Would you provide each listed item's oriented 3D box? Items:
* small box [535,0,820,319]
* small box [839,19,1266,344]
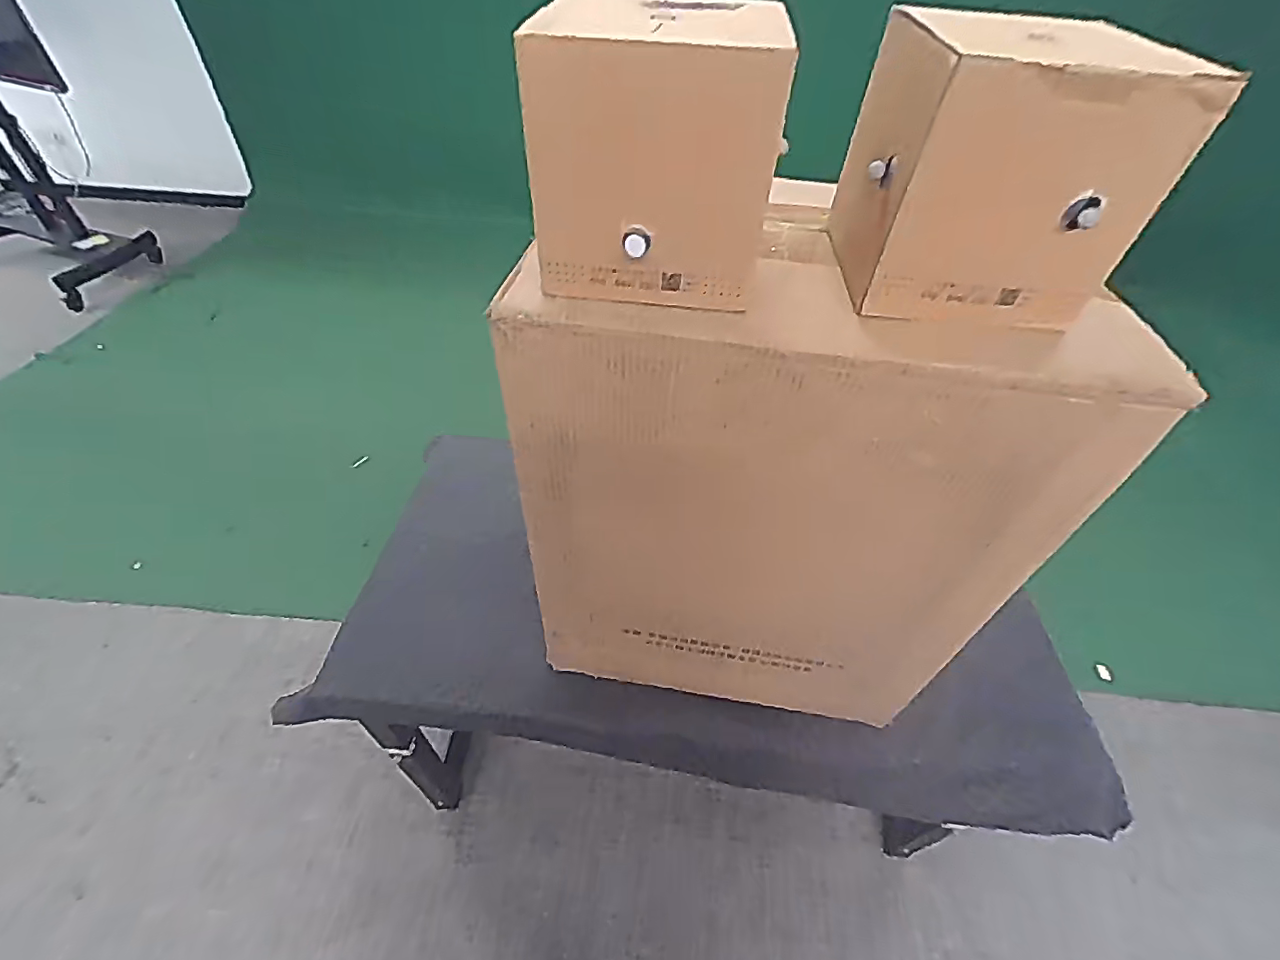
[{"bbox_3d":[0.029,-0.250,0.415,0.168,0.176,0.179,9,49,5],"label":"small box"},{"bbox_3d":[0.275,-0.226,0.419,0.168,0.176,0.179,7,48,-2],"label":"small box"}]
